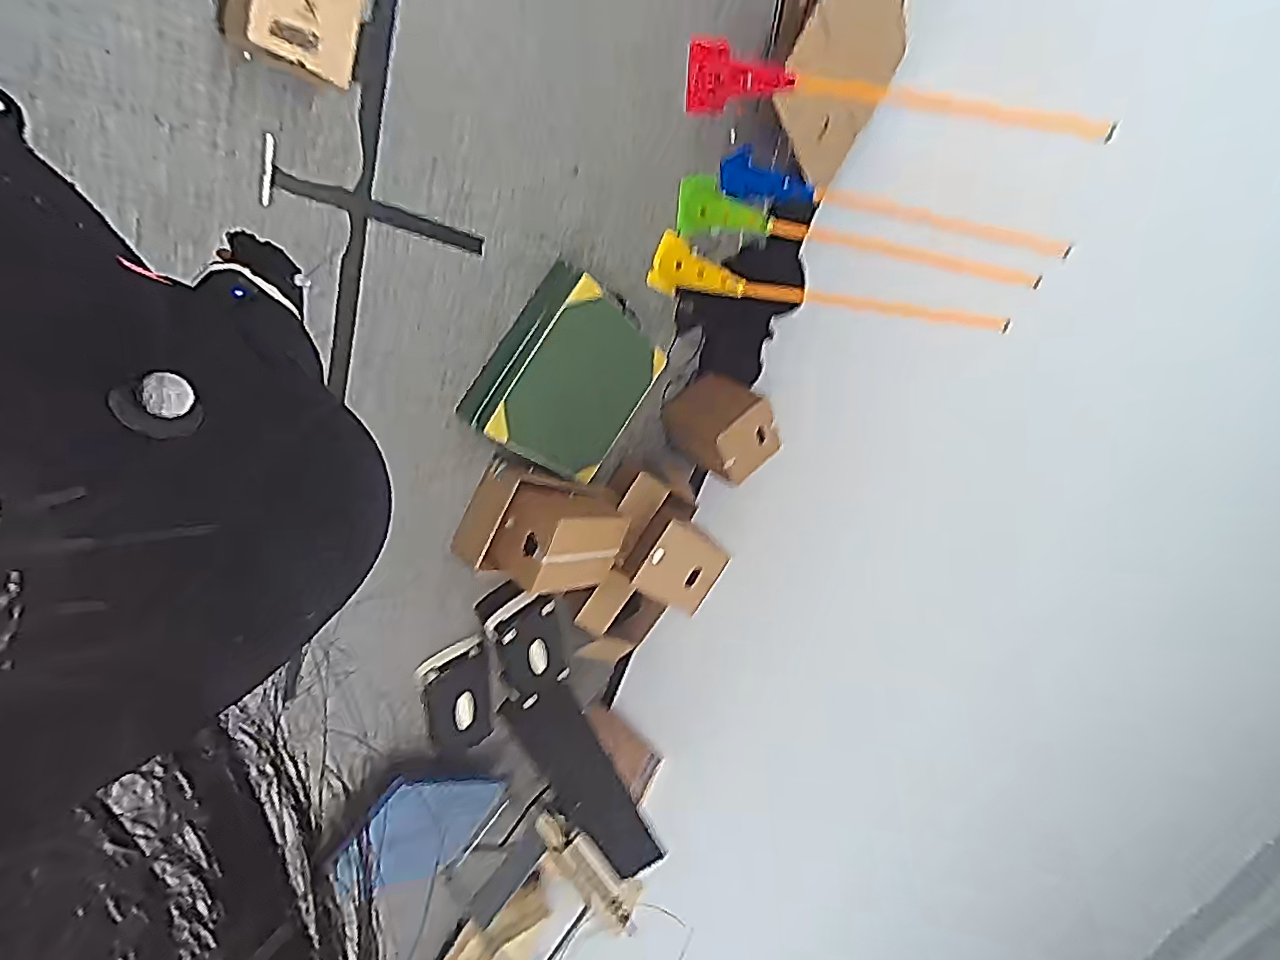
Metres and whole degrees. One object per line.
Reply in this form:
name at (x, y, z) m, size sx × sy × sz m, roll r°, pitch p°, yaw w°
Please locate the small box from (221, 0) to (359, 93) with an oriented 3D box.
small box at (-0.656, -0.864, 1.009) m, size 0.168 × 0.176 × 0.179 m, roll -1°, pitch 117°, yaw -51°
